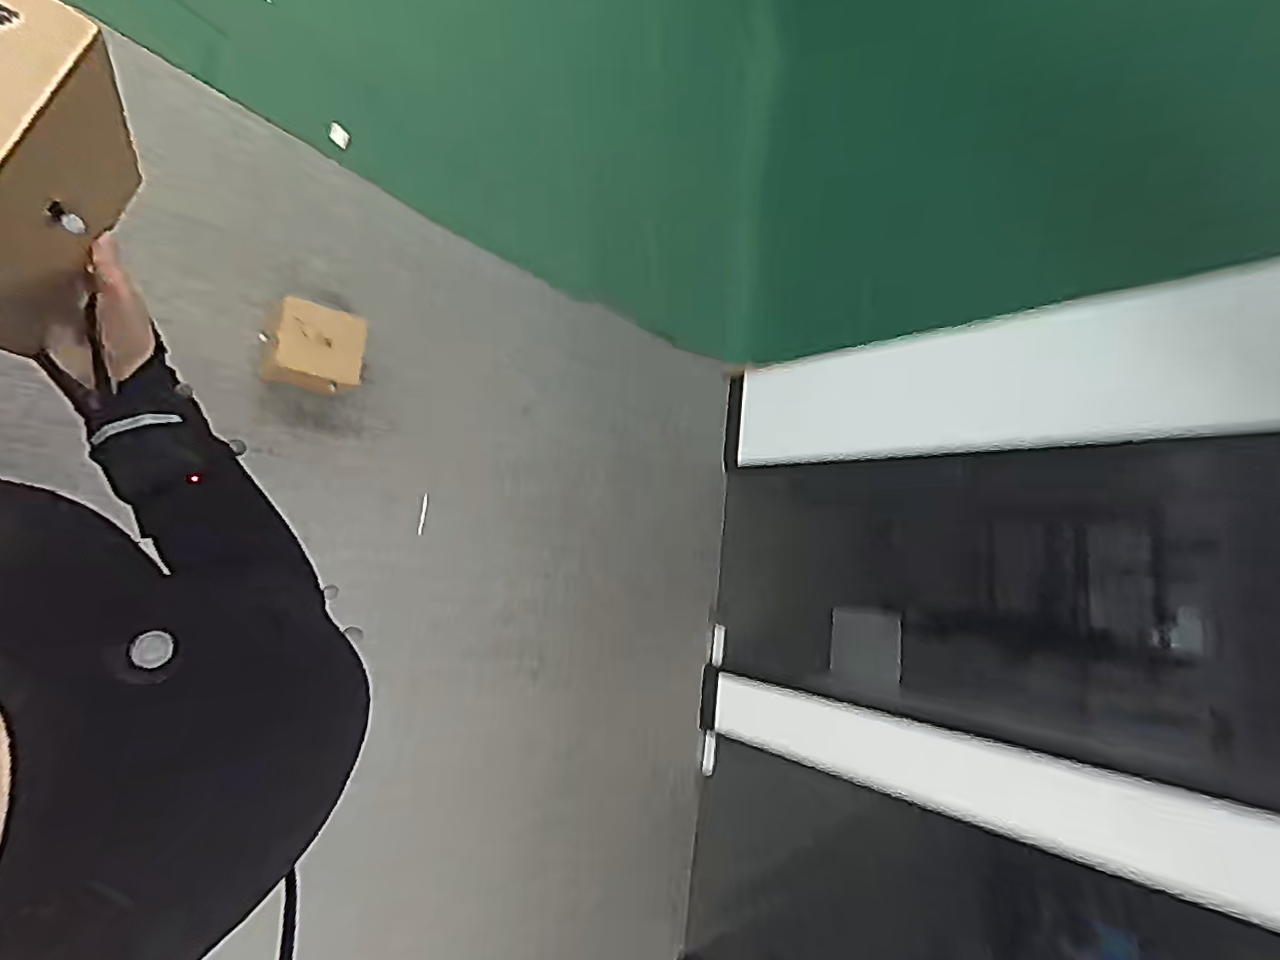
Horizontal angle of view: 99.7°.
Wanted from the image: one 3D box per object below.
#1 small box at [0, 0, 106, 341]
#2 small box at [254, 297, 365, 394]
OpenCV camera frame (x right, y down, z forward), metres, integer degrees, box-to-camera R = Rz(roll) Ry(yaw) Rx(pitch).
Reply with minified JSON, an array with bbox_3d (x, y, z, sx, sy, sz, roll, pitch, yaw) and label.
[{"bbox_3d":[-0.449,-0.208,0.304,0.168,0.176,0.179,23,71,-33],"label":"small box"},{"bbox_3d":[-0.792,-0.311,1.295,0.179,0.176,0.168,12,79,-46],"label":"small box"}]
